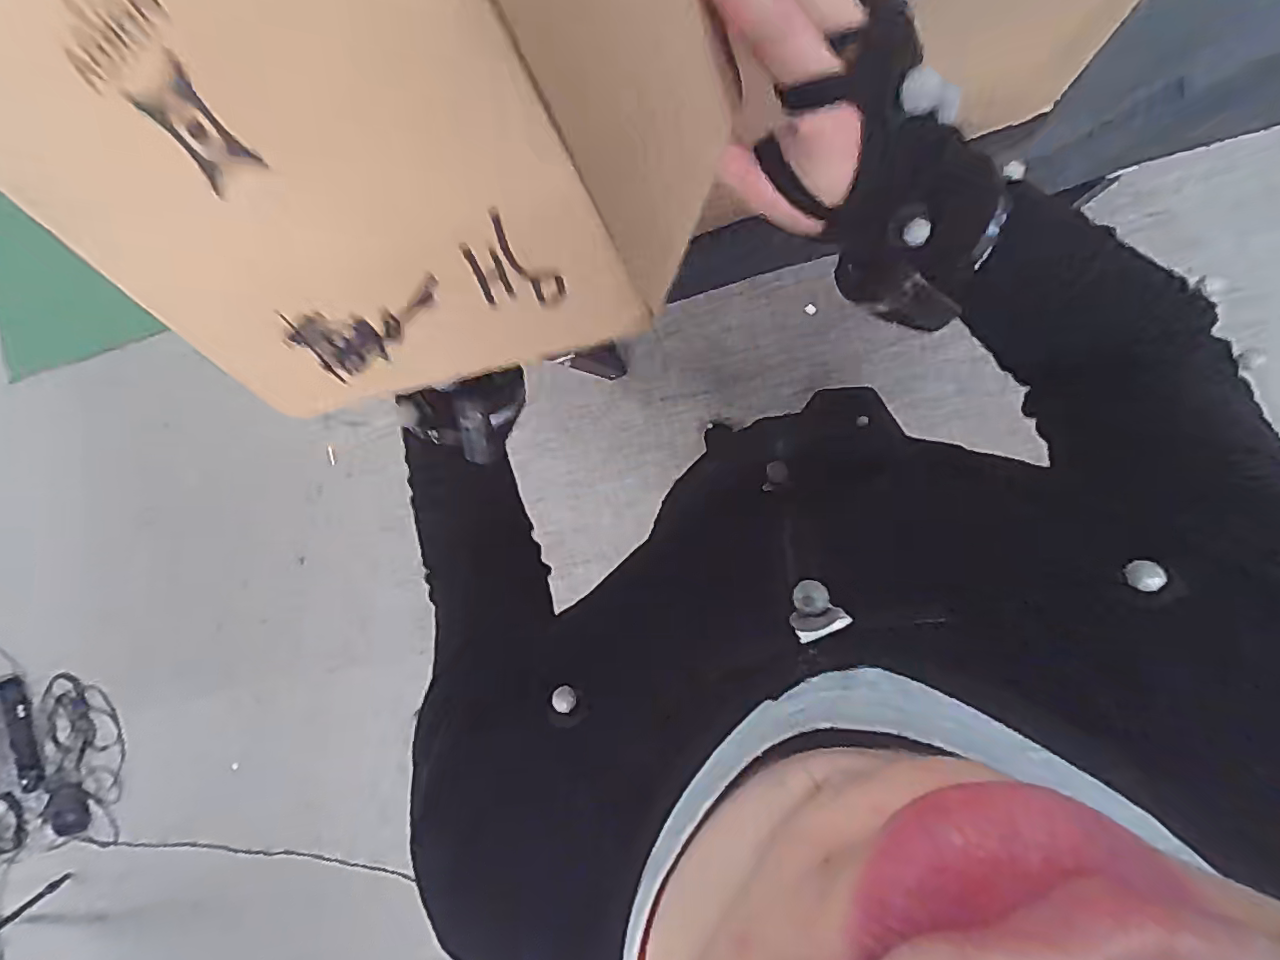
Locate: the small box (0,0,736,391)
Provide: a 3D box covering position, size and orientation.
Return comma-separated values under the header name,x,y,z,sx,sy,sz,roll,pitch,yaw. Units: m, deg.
name,x,y,z,sx,sy,sz,roll,pitch,yaw
small box,-0.083,-0.155,0.159,0.168,0.176,0.179,-4,138,29
